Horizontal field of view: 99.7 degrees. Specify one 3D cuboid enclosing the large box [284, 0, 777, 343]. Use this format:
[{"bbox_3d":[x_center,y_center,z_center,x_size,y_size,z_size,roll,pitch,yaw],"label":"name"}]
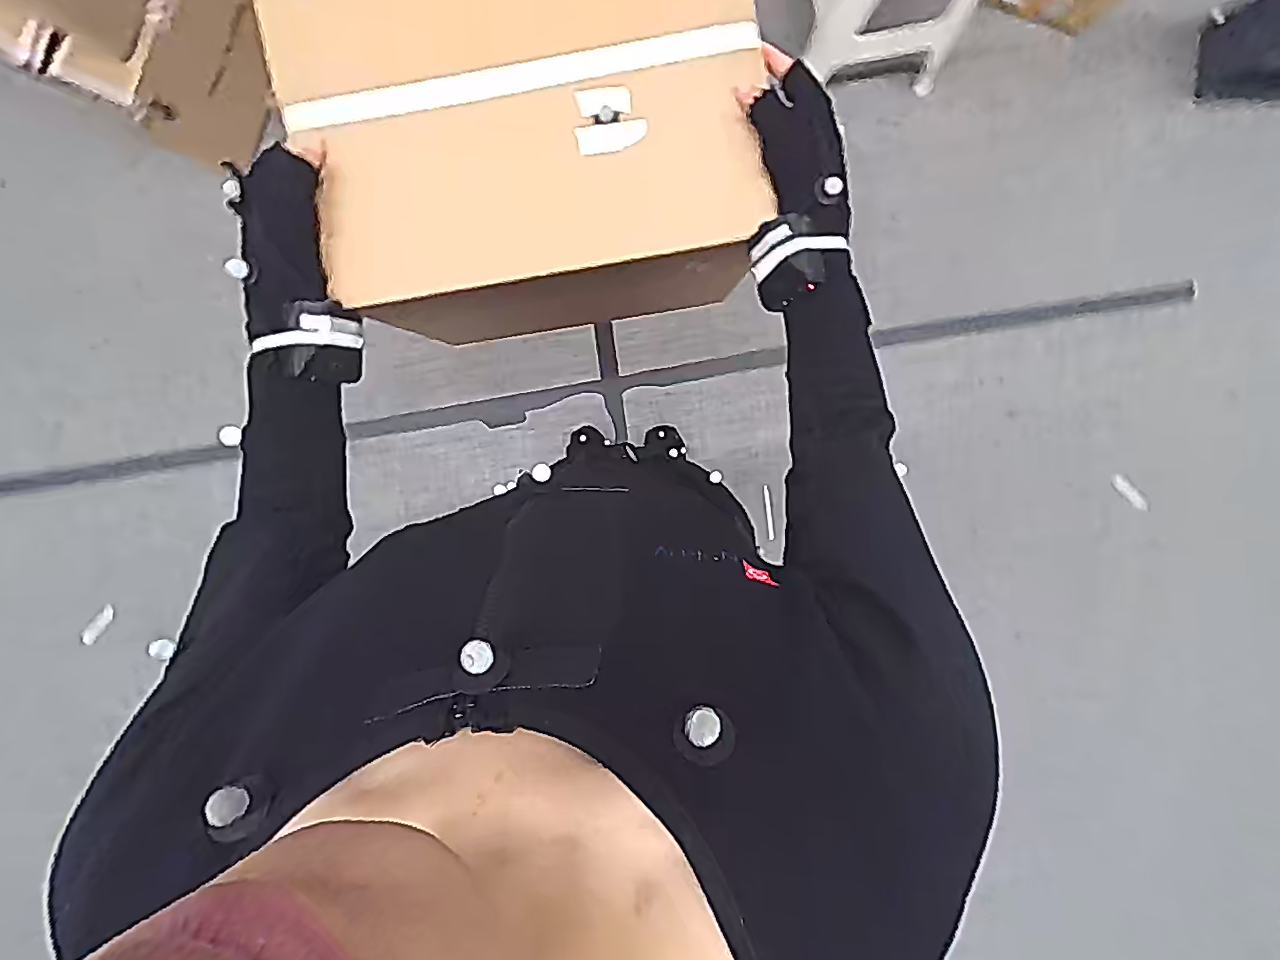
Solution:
[{"bbox_3d":[-0.098,-0.363,0.624,0.408,0.320,0.320,-10,99,0],"label":"large box"}]
